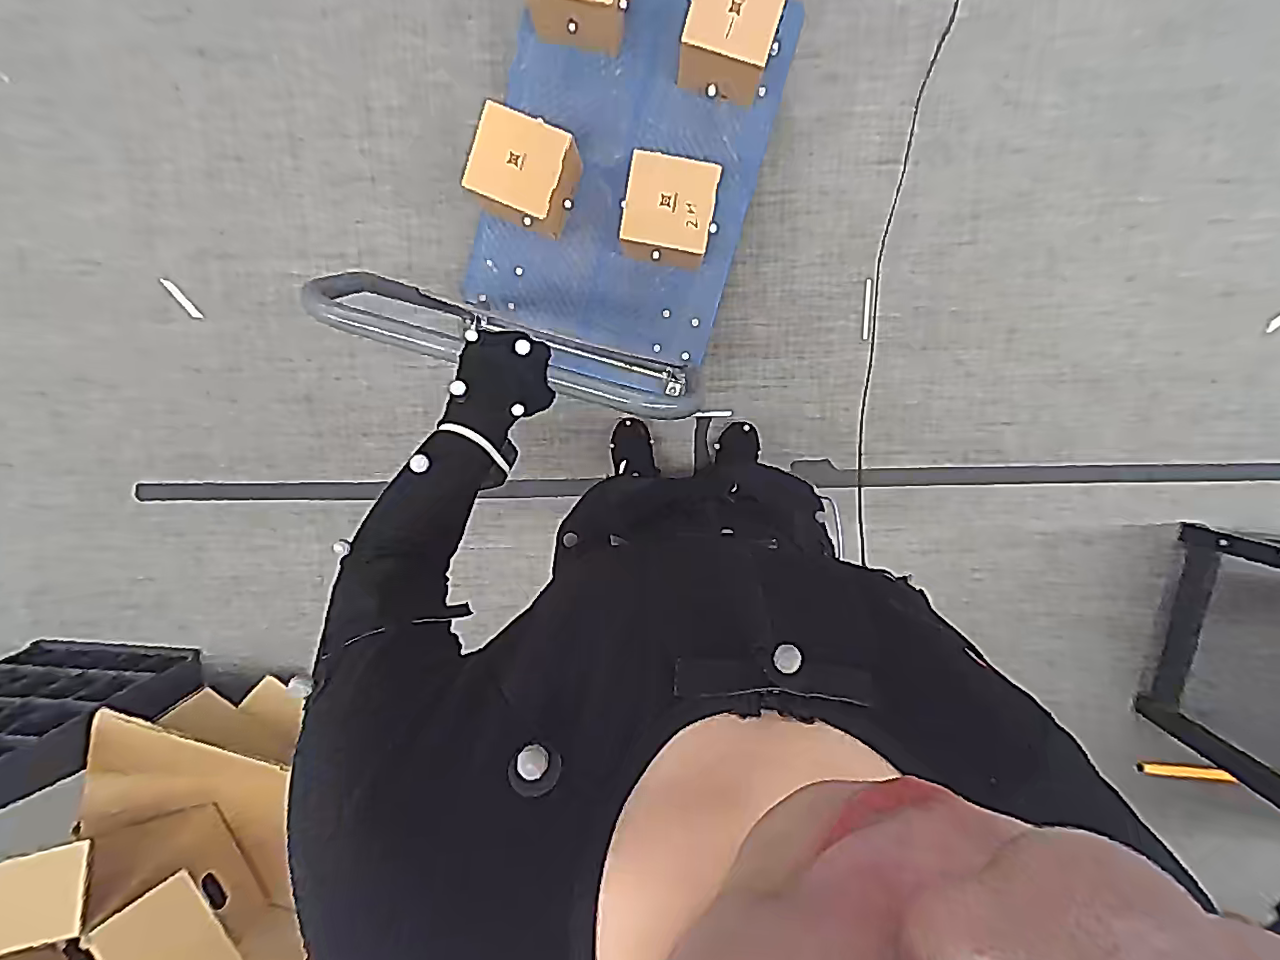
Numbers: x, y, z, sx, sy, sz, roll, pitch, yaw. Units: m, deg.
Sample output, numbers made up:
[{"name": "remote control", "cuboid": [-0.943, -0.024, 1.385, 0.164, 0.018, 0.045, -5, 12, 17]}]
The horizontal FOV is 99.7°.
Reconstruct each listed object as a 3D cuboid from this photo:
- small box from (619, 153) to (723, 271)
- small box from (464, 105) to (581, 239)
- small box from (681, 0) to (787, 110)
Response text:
[{"name": "small box", "cuboid": [0.062, -0.548, 1.129, 0.179, 0.176, 0.168, 11, 101, 0]}, {"name": "small box", "cuboid": [-0.236, -0.626, 1.125, 0.179, 0.176, 0.168, 20, 100, -3]}, {"name": "small box", "cuboid": [0.182, -0.881, 1.066, 0.168, 0.176, 0.179, 17, 102, -1]}]
